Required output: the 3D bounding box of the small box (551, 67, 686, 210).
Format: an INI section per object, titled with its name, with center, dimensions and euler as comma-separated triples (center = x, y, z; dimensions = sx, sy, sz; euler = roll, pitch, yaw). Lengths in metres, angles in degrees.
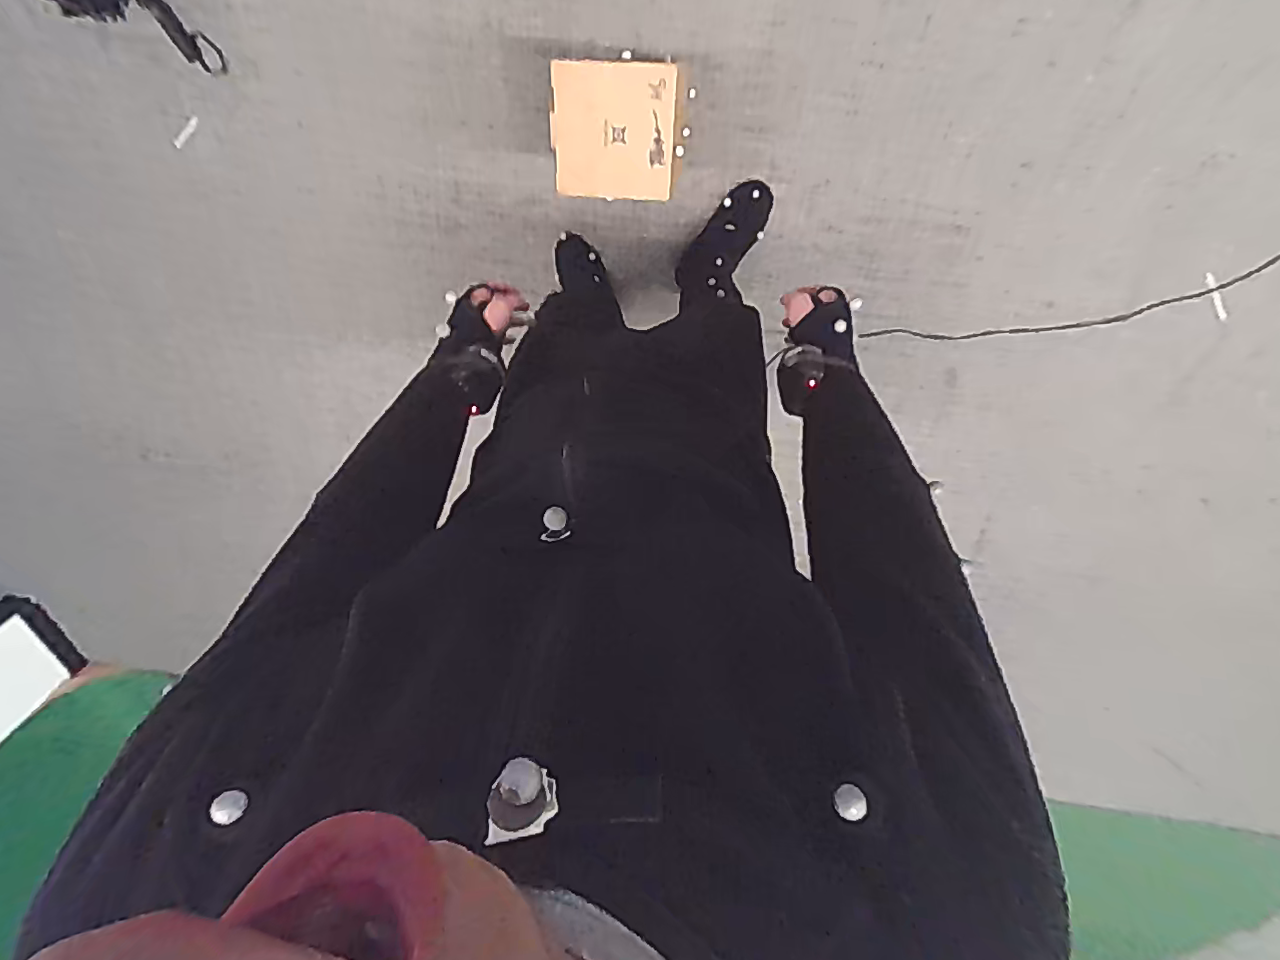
[small box]
center = -0.029, -0.528, 0.840
dimensions = 0.179, 0.176, 0.168
euler = 7, 125, 5
